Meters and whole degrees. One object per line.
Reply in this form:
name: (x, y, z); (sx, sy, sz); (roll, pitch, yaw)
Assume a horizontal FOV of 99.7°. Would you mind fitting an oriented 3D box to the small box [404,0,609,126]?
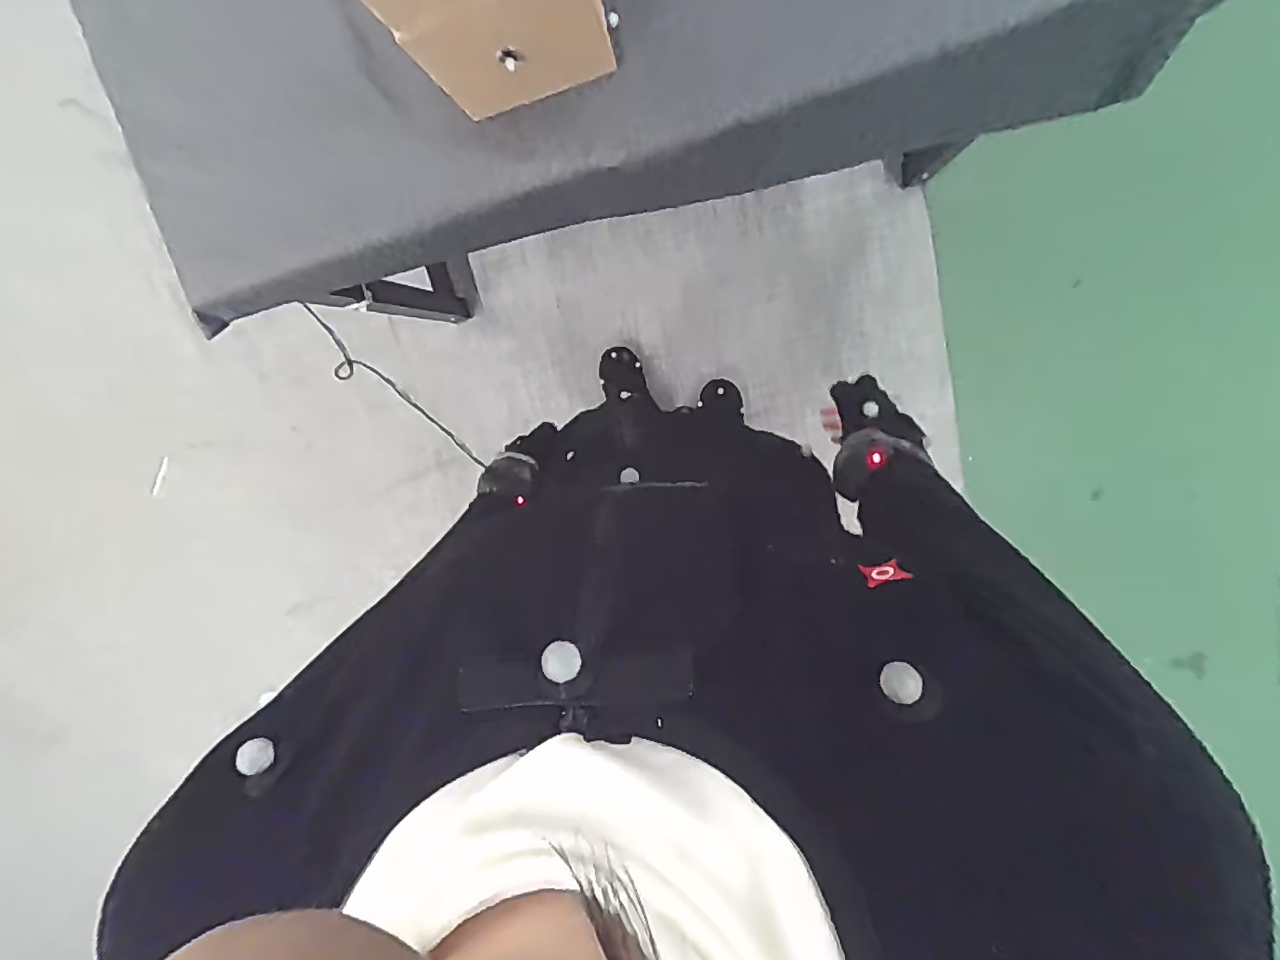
small box: (-0.136, -0.491, 0.528); (0.179, 0.176, 0.168); (-16, 100, 10)
